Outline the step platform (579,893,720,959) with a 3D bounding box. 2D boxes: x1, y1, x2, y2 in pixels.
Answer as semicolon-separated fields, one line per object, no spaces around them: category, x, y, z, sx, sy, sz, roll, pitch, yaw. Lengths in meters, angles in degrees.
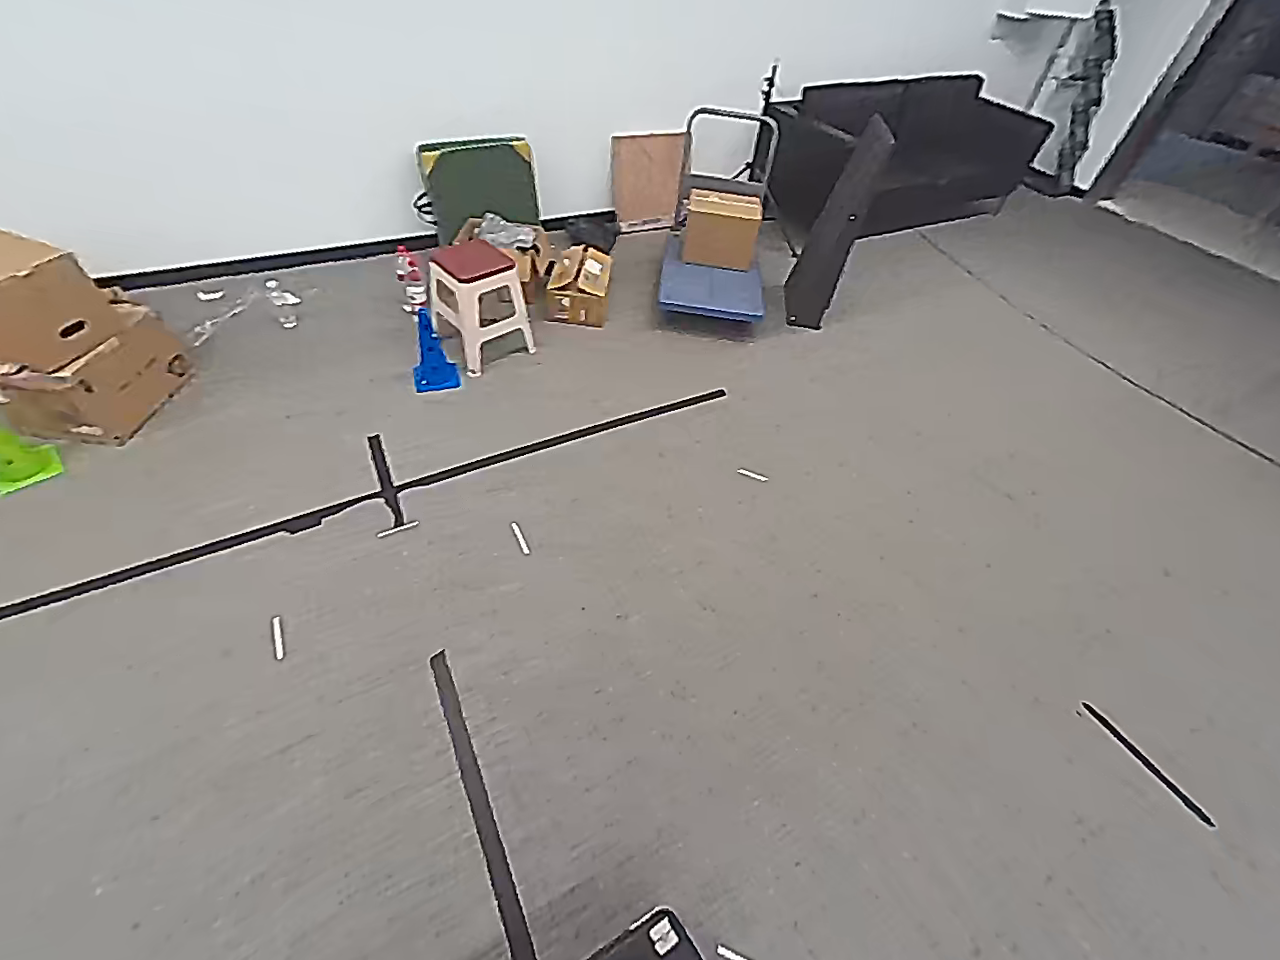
step platform;-0.129;1.161;1.070;0.684;0.204;0.286;-20;53;-24
